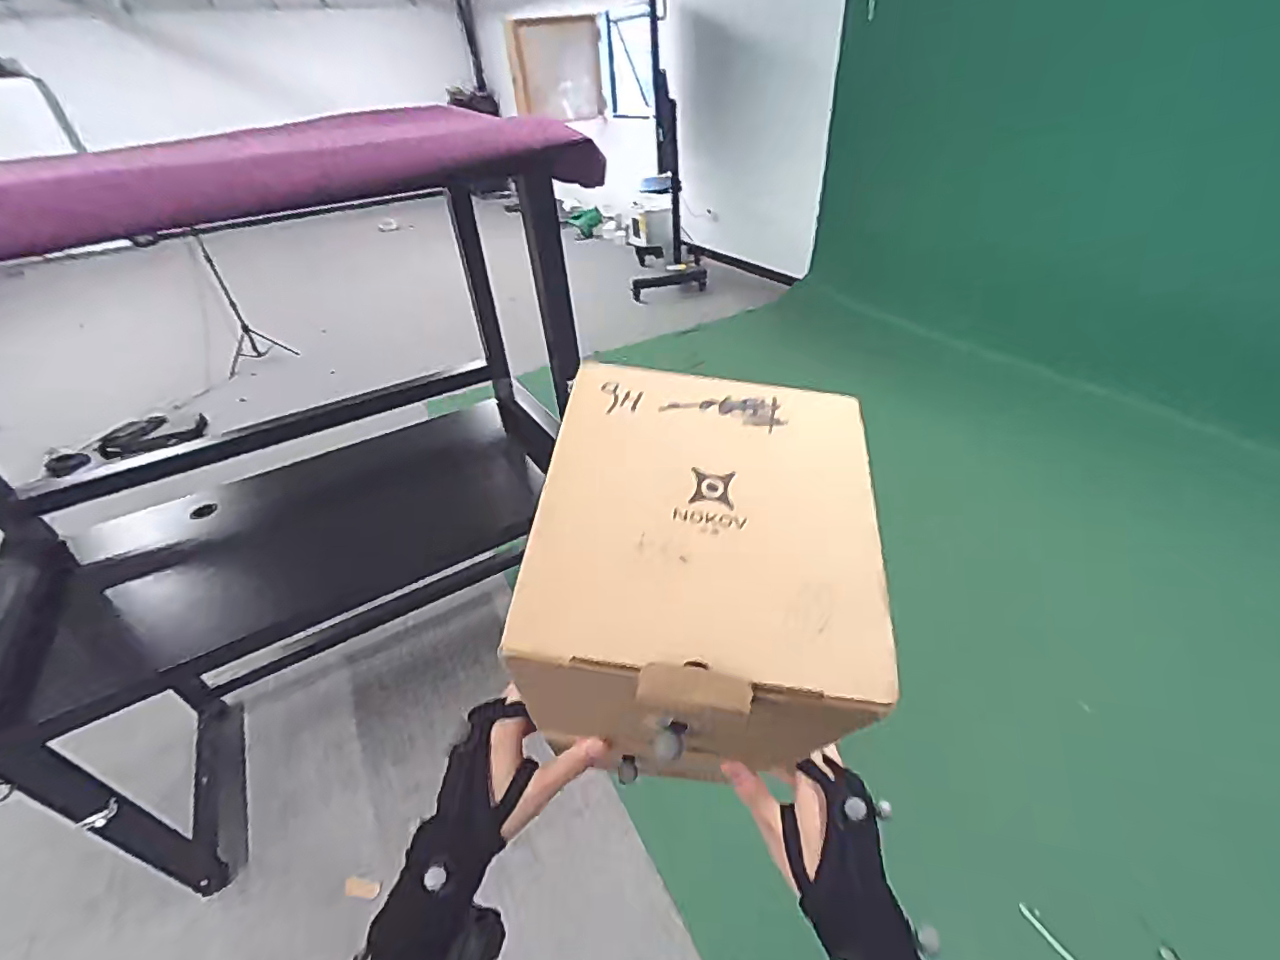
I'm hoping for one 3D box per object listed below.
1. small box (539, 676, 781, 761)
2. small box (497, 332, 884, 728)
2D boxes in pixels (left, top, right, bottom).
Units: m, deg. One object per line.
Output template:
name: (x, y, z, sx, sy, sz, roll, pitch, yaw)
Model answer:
small box: (0.019, 0.132, 0.469, 0.168, 0.176, 0.179, 6, 54, 1)
small box: (0.028, 0.040, 0.334, 0.168, 0.176, 0.179, 9, 56, 2)
